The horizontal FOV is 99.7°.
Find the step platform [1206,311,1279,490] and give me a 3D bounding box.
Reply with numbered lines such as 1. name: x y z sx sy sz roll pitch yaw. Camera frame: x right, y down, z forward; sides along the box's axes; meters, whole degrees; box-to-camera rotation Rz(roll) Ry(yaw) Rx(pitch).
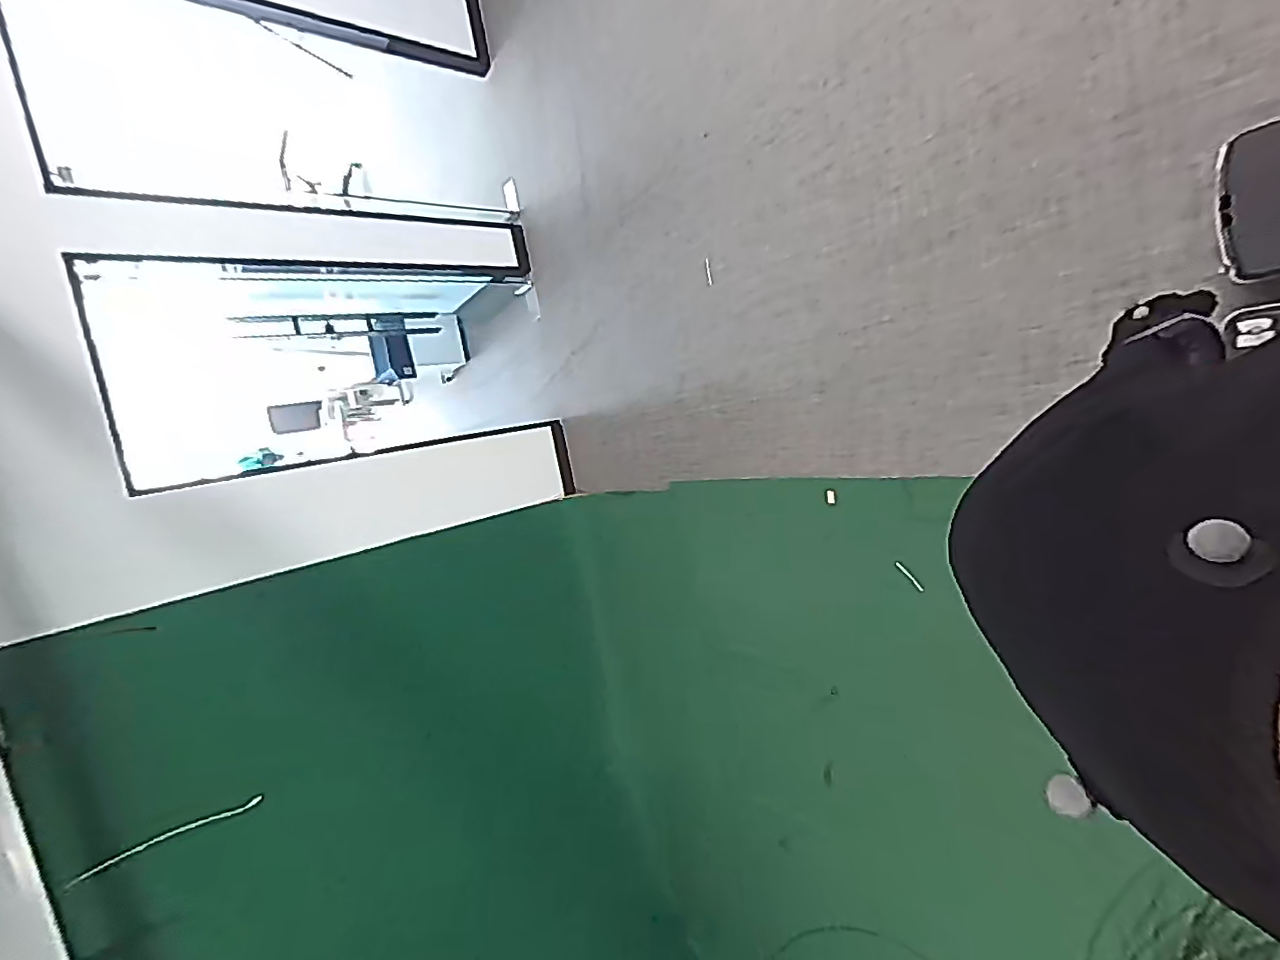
1. step platform: 1.244 -0.149 0.708 0.684 0.204 0.286 -3 99 52
